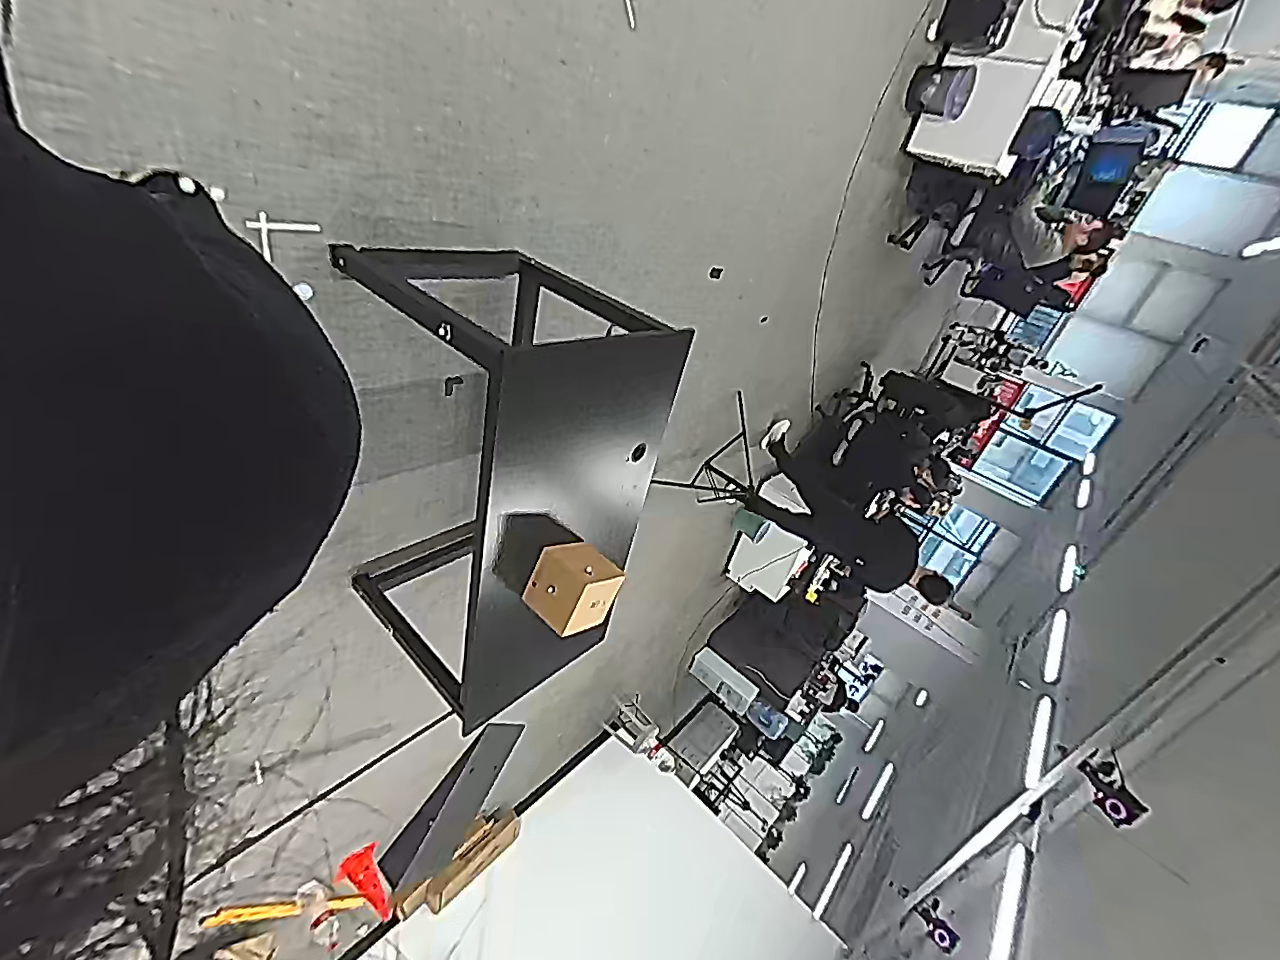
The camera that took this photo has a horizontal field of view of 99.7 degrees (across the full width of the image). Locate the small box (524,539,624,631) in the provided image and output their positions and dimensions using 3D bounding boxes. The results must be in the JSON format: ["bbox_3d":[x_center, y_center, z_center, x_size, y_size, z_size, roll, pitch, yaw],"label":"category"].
[{"bbox_3d":[-0.182,0.275,1.463,0.179,0.176,0.168,0,120,-58],"label":"small box"}]
